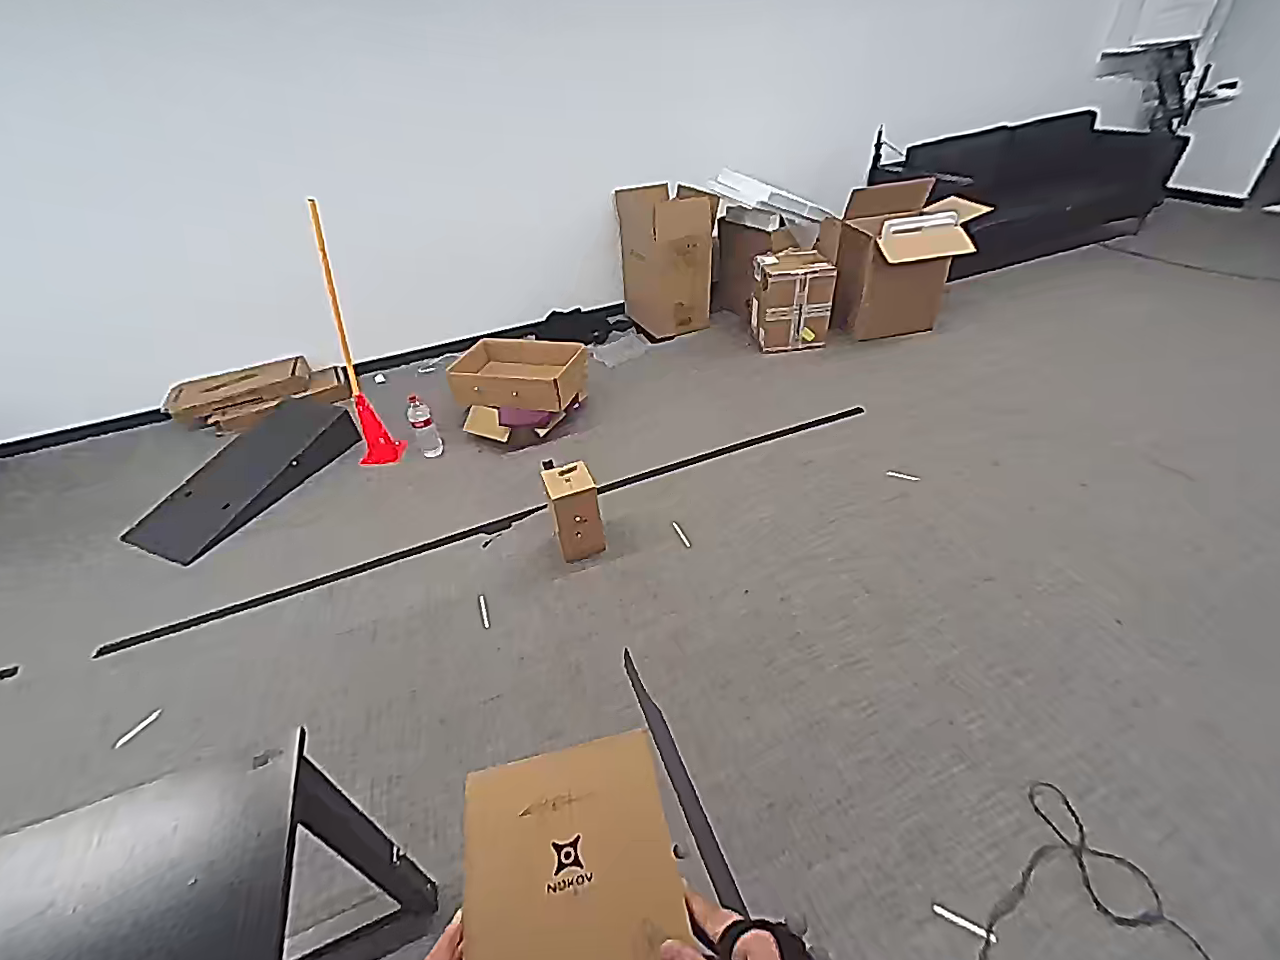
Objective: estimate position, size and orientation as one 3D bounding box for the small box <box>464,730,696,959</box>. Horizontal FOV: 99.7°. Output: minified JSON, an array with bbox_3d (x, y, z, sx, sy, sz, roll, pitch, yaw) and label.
[{"bbox_3d":[-0.050,0.361,0.478,0.168,0.176,0.179,-12,41,-8],"label":"small box"}]

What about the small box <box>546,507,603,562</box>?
[{"bbox_3d":[-0.256,0.195,2.127,0.179,0.176,0.168,-16,40,-14],"label":"small box"}]

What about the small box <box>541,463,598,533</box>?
[{"bbox_3d":[-0.263,0.069,2.021,0.168,0.176,0.179,-17,41,-14],"label":"small box"}]
